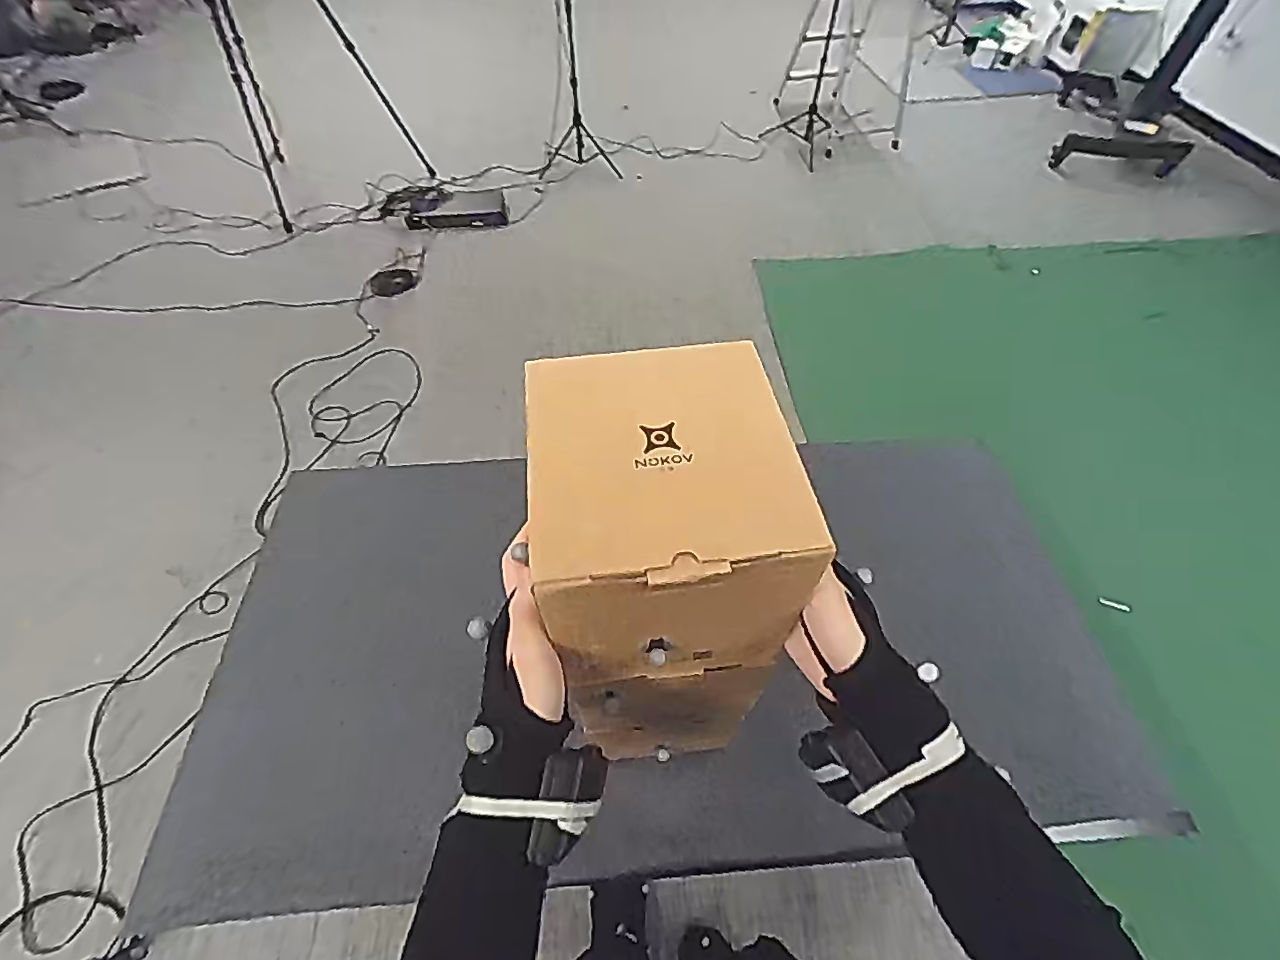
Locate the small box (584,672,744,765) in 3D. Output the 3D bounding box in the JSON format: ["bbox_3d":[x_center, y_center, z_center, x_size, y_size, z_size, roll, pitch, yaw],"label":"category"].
[{"bbox_3d":[0.017,0.231,0.659,0.168,0.176,0.179,-4,54,-3],"label":"small box"}]

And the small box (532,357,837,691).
[{"bbox_3d":[0.013,0.034,0.398,0.168,0.176,0.179,-6,54,-6],"label":"small box"}]
